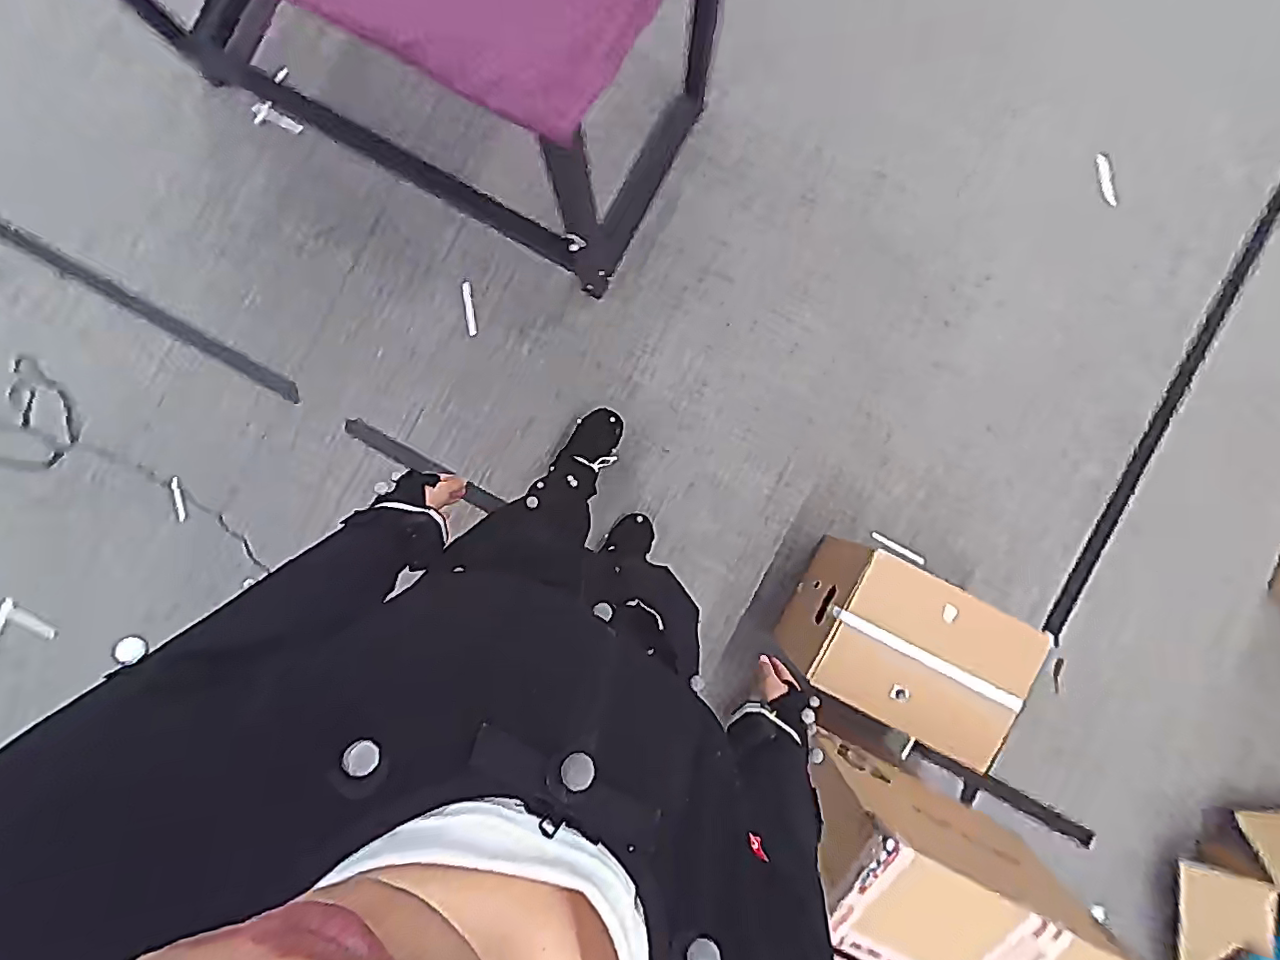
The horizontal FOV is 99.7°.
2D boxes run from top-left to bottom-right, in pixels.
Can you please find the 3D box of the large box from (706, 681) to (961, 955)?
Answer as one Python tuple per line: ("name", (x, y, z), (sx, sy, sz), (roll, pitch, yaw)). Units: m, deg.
("large box", (0.408, 0.735, 1.237), (0.408, 0.320, 0.320), (28, 90, 1))
